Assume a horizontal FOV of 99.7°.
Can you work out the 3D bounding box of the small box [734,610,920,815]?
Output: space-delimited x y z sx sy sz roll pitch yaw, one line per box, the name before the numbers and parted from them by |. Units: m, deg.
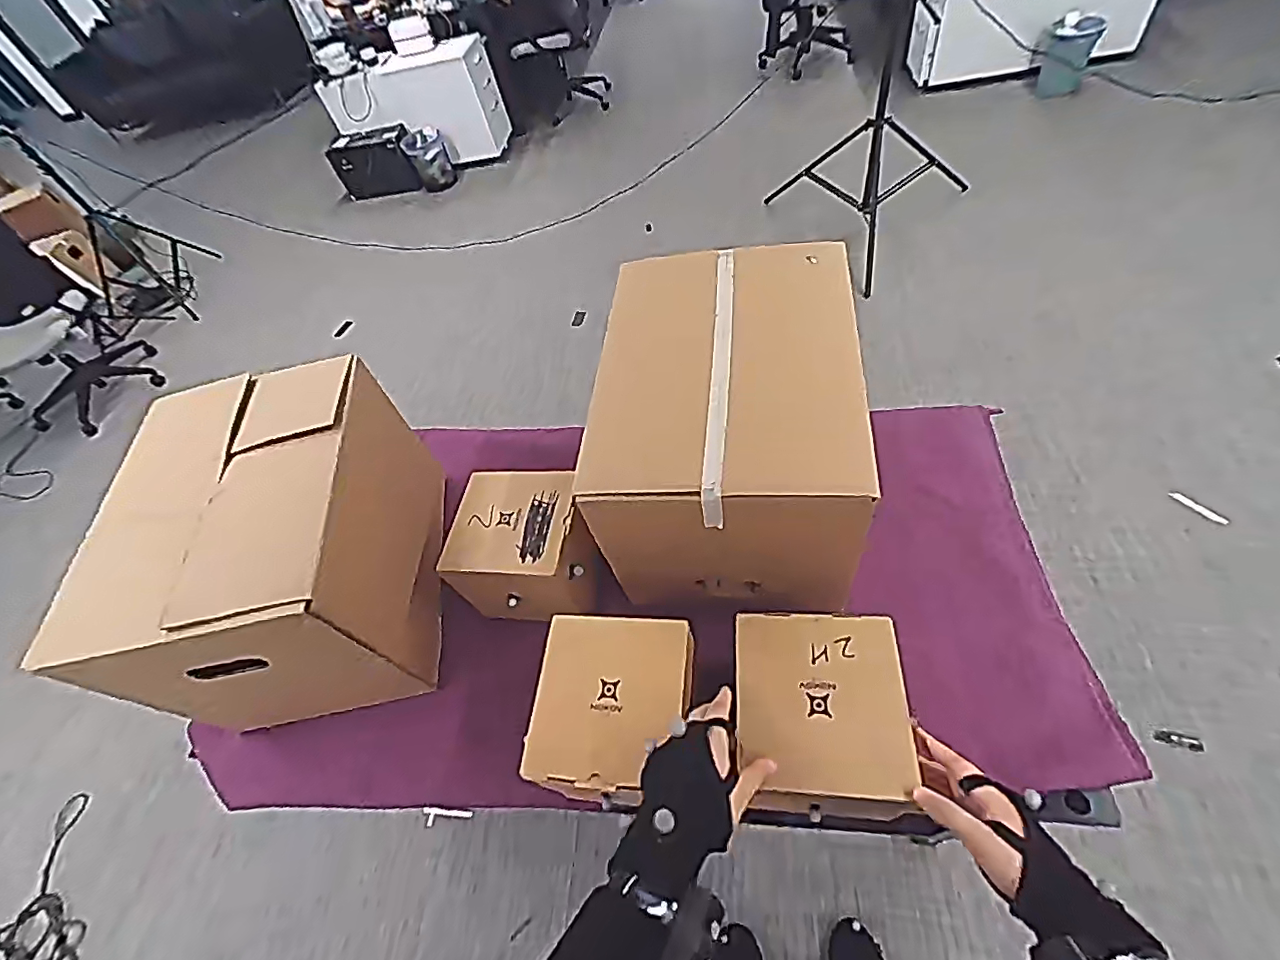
small box | 0.193 0.261 0.603 0.168 0.176 0.179 -1 53 12
